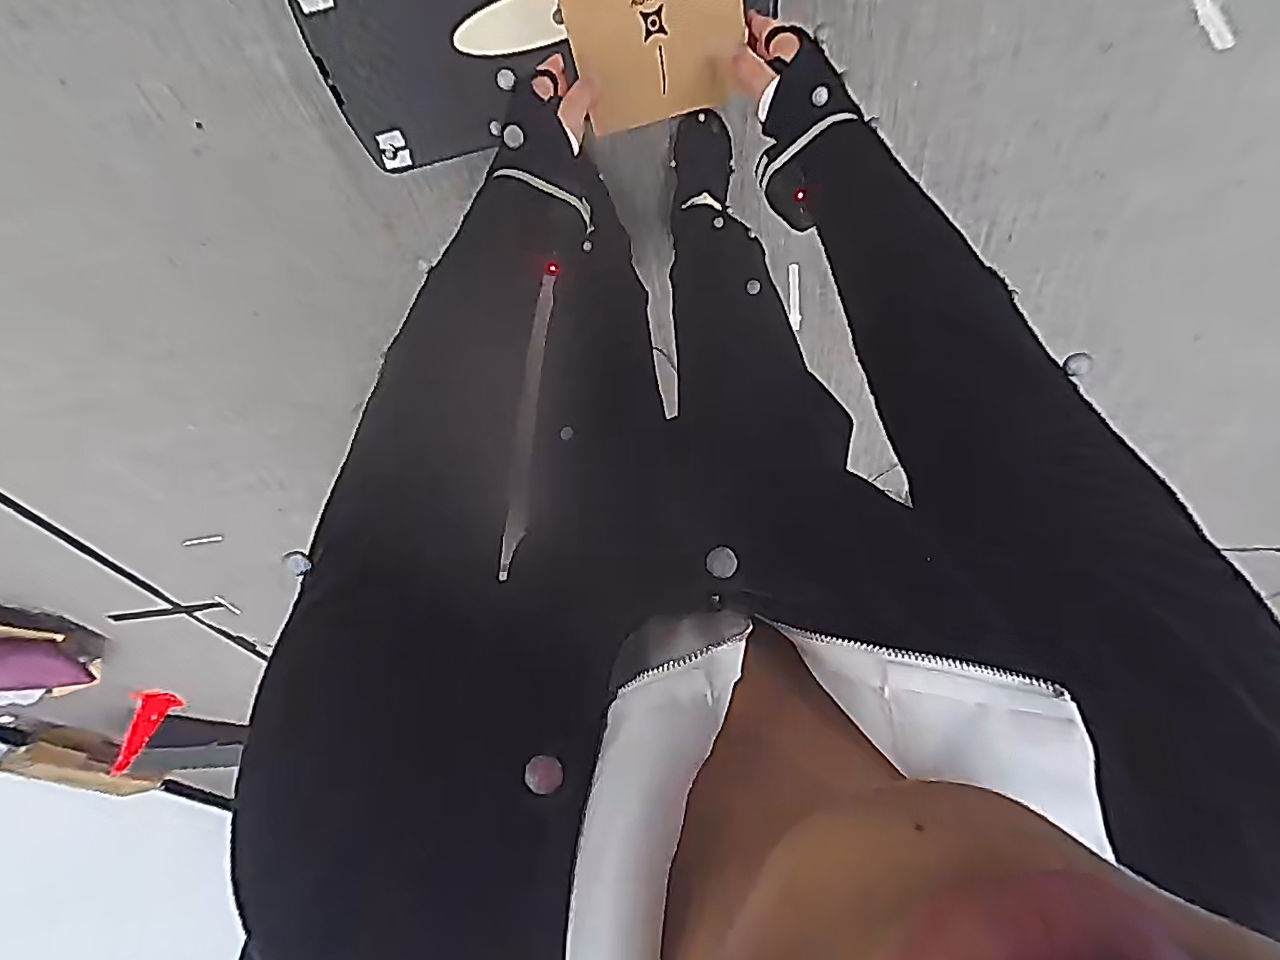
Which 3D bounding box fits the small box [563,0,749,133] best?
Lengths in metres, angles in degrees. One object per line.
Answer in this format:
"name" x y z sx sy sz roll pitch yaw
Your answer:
"small box" 0.010 -0.497 0.555 0.168 0.176 0.179 -10 137 9
